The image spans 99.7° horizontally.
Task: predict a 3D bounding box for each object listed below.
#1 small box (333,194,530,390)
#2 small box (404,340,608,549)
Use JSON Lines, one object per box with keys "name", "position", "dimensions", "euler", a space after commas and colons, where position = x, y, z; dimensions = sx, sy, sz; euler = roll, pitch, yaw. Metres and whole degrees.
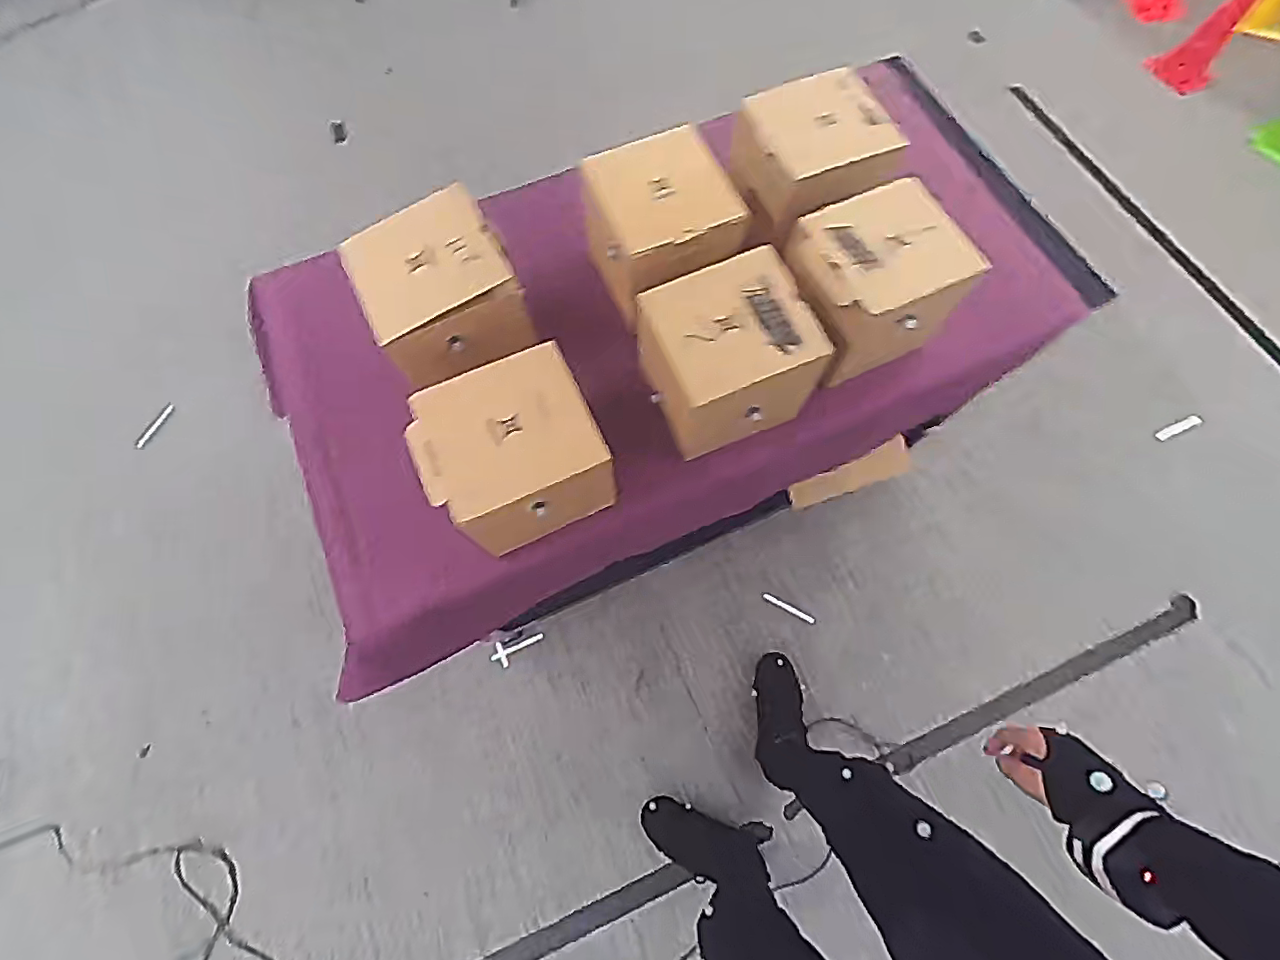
{"name": "small box", "position": [-0.265, -0.234, 0.728], "dimensions": [0.179, 0.176, 0.168], "euler": [-26, 74, -9]}
{"name": "small box", "position": [-0.150, -0.032, 0.661], "dimensions": [0.179, 0.176, 0.168], "euler": [-24, 73, -8]}
